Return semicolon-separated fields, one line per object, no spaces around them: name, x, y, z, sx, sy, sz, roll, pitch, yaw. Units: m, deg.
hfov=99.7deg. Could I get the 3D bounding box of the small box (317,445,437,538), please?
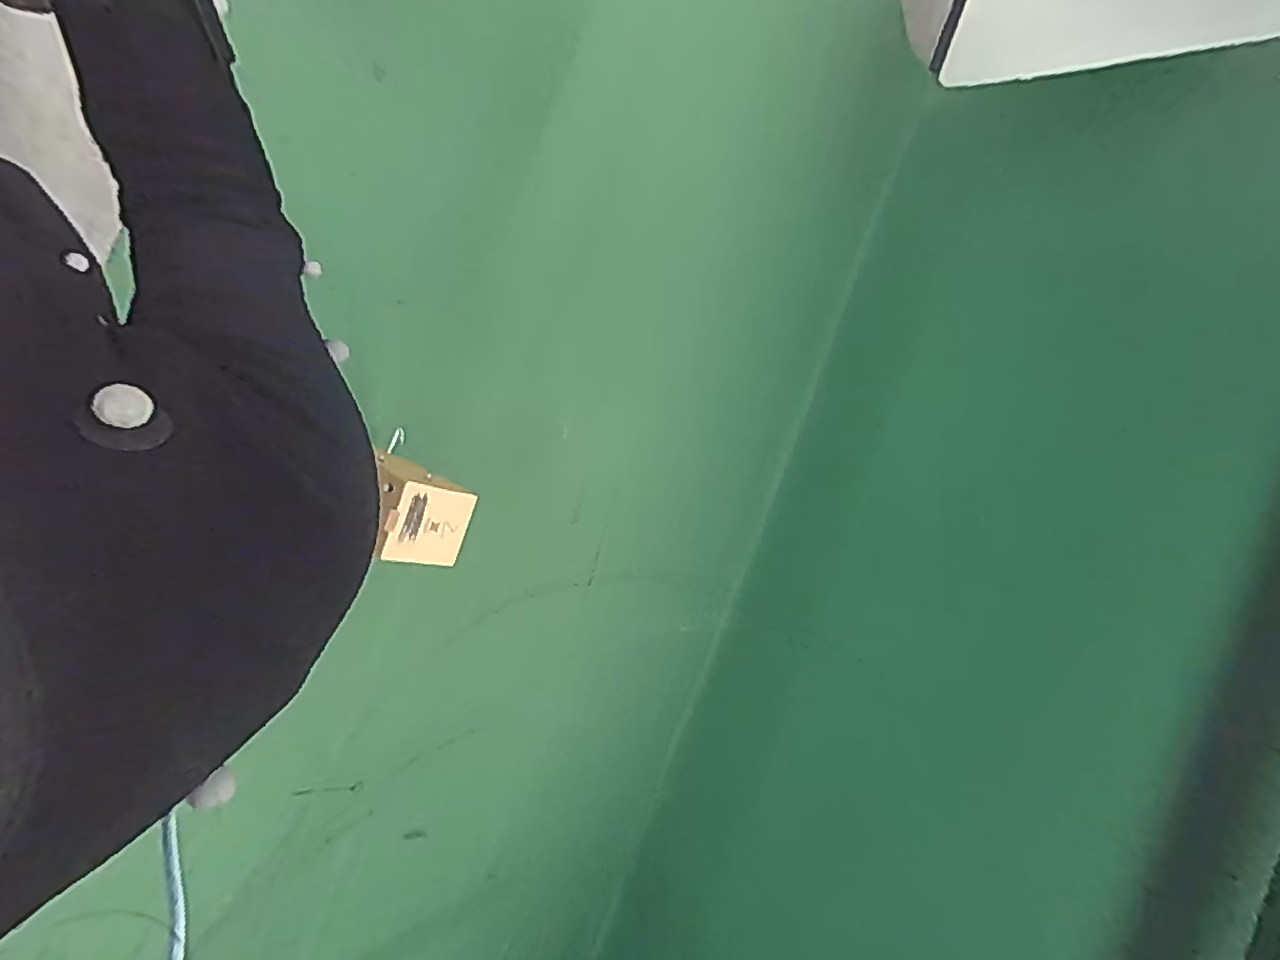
small box;-0.622;0.026;1.277;0.179;0.176;0.168;18;91;-51
